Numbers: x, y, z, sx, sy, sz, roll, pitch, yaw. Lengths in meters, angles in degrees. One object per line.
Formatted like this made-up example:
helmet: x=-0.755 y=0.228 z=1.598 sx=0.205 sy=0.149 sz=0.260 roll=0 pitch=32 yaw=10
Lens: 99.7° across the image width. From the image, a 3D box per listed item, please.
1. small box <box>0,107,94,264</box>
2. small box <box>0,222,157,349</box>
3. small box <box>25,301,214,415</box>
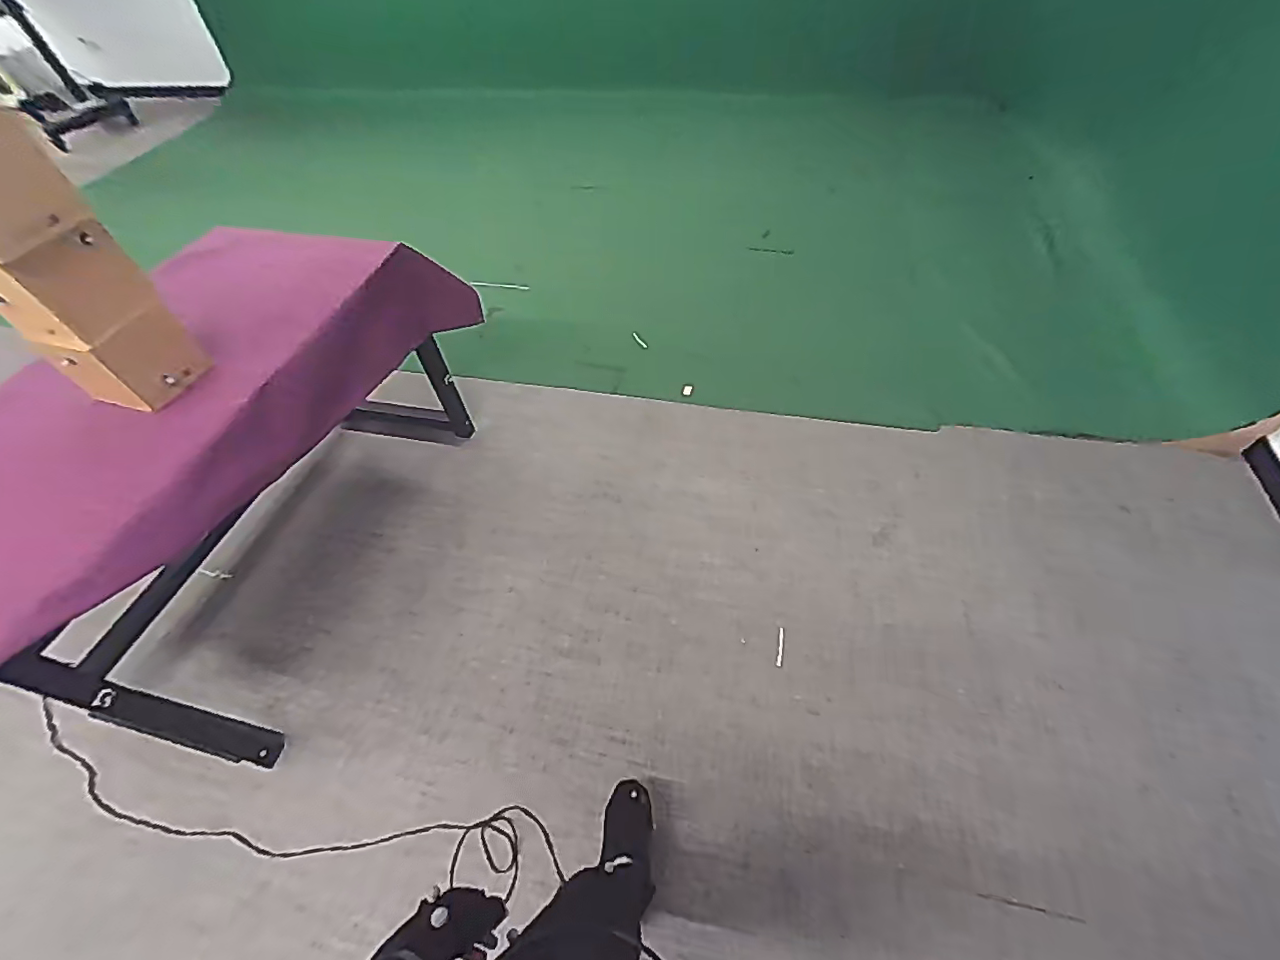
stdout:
small box: x=-1.035 y=-0.453 z=0.834 sx=0.179 sy=0.176 sz=0.168 roll=13 pitch=55 yaw=16
small box: x=-1.045 y=-0.358 z=0.969 sx=0.168 sy=0.176 sz=0.179 roll=11 pitch=54 yaw=13
small box: x=-1.034 y=-0.254 z=1.092 sx=0.179 sy=0.176 sz=0.168 roll=13 pitch=55 yaw=14
